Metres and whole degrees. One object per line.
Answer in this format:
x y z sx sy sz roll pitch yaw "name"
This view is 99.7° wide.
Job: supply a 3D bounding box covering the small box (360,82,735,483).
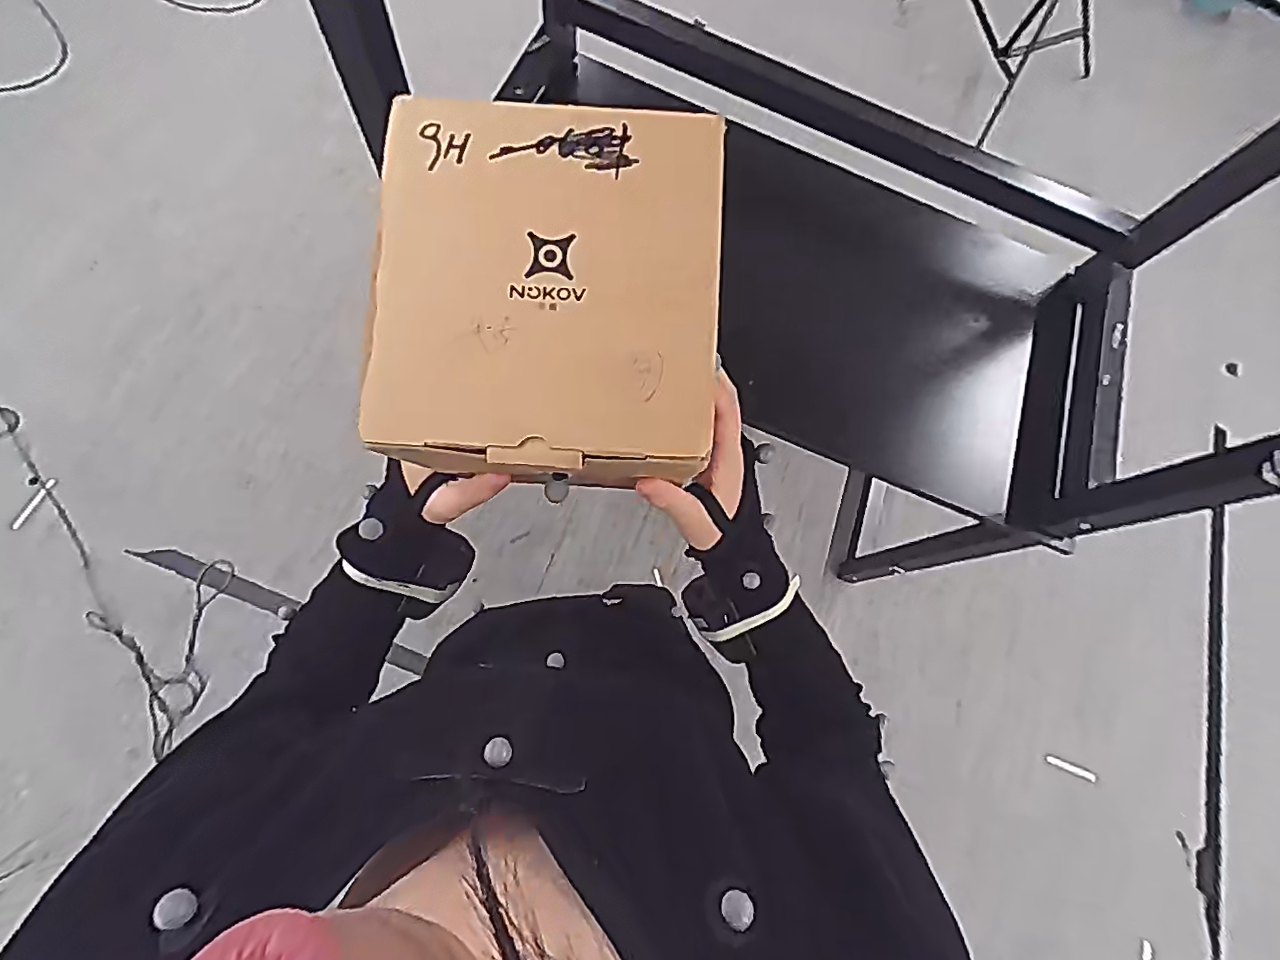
-0.043 -0.090 0.328 0.168 0.176 0.179 3 86 -2 "small box"
